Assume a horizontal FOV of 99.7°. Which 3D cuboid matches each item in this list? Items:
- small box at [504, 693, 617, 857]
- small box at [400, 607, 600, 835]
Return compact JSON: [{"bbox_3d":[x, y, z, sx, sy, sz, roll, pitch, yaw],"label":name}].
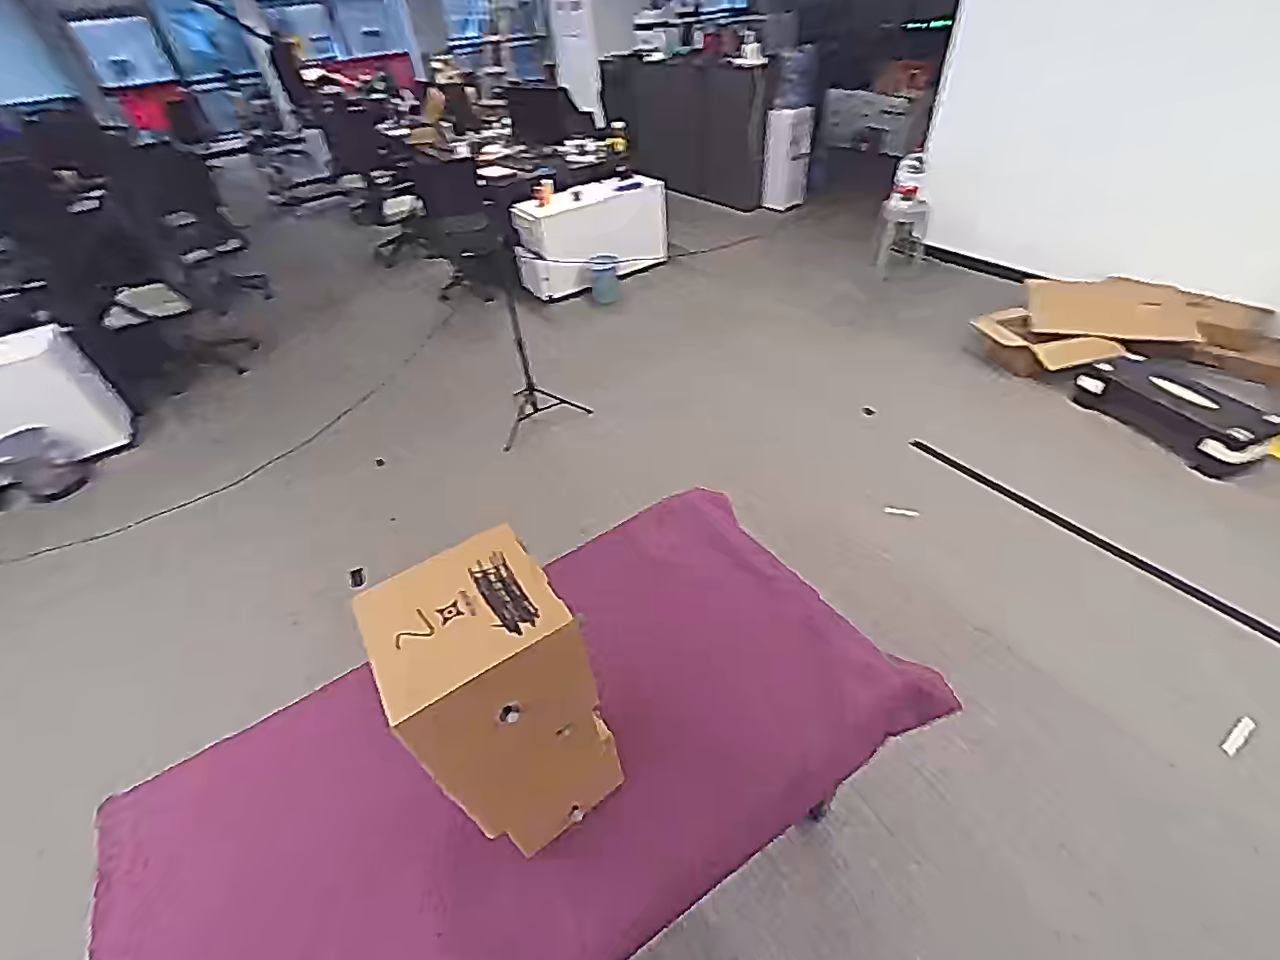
[{"bbox_3d":[-0.147,0.414,0.814,0.179,0.176,0.168,-29,45,-24],"label":"small box"},{"bbox_3d":[-0.171,0.307,0.692,0.179,0.176,0.168,-29,46,-24],"label":"small box"}]
